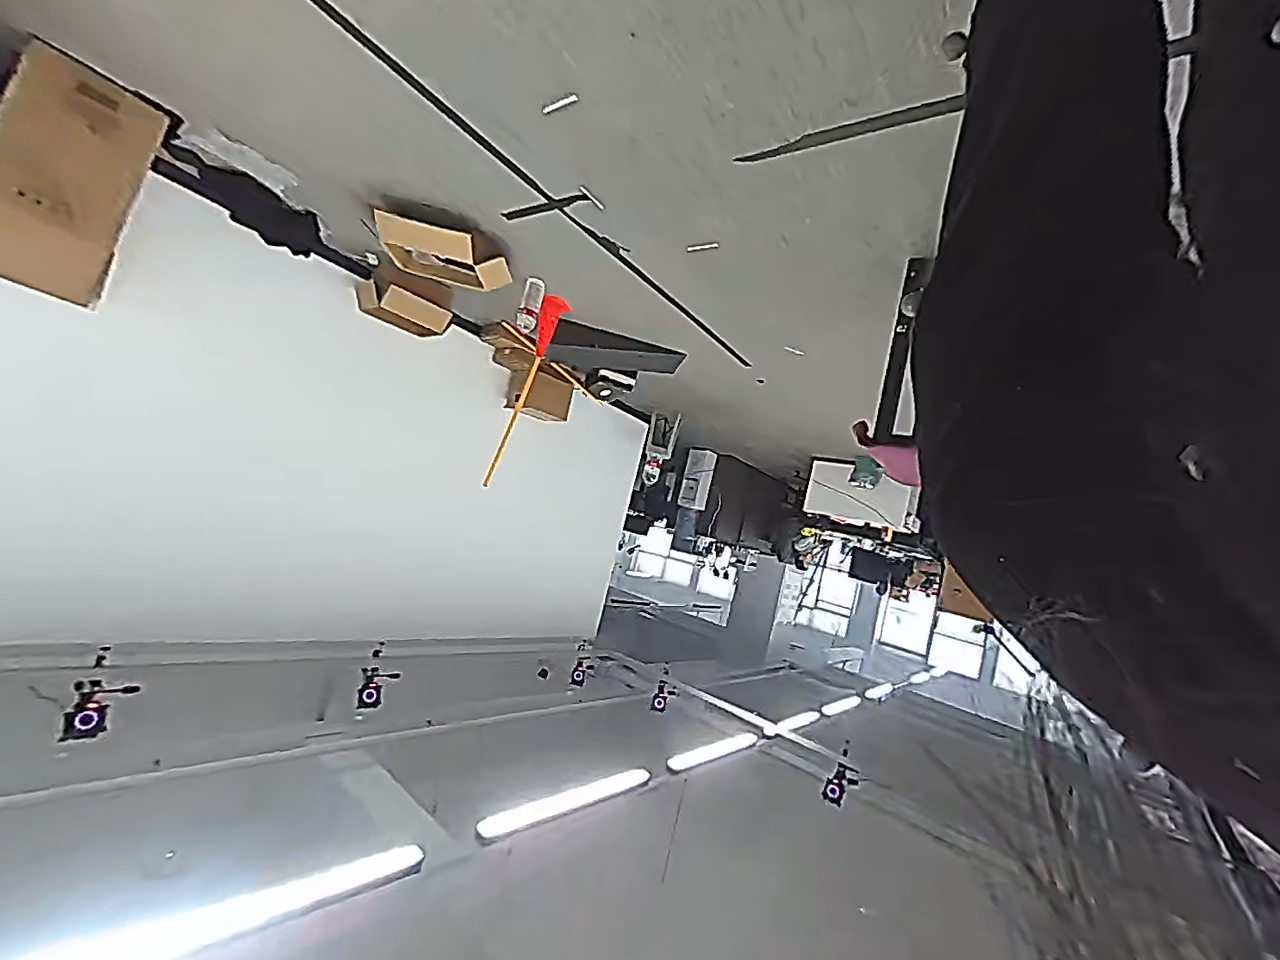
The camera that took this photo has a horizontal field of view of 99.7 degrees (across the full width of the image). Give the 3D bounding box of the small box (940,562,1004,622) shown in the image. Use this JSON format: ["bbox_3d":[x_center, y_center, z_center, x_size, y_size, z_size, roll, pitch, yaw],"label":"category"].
[{"bbox_3d":[1.143,0.382,1.867,0.168,0.176,0.179,12,177,31],"label":"small box"}]
